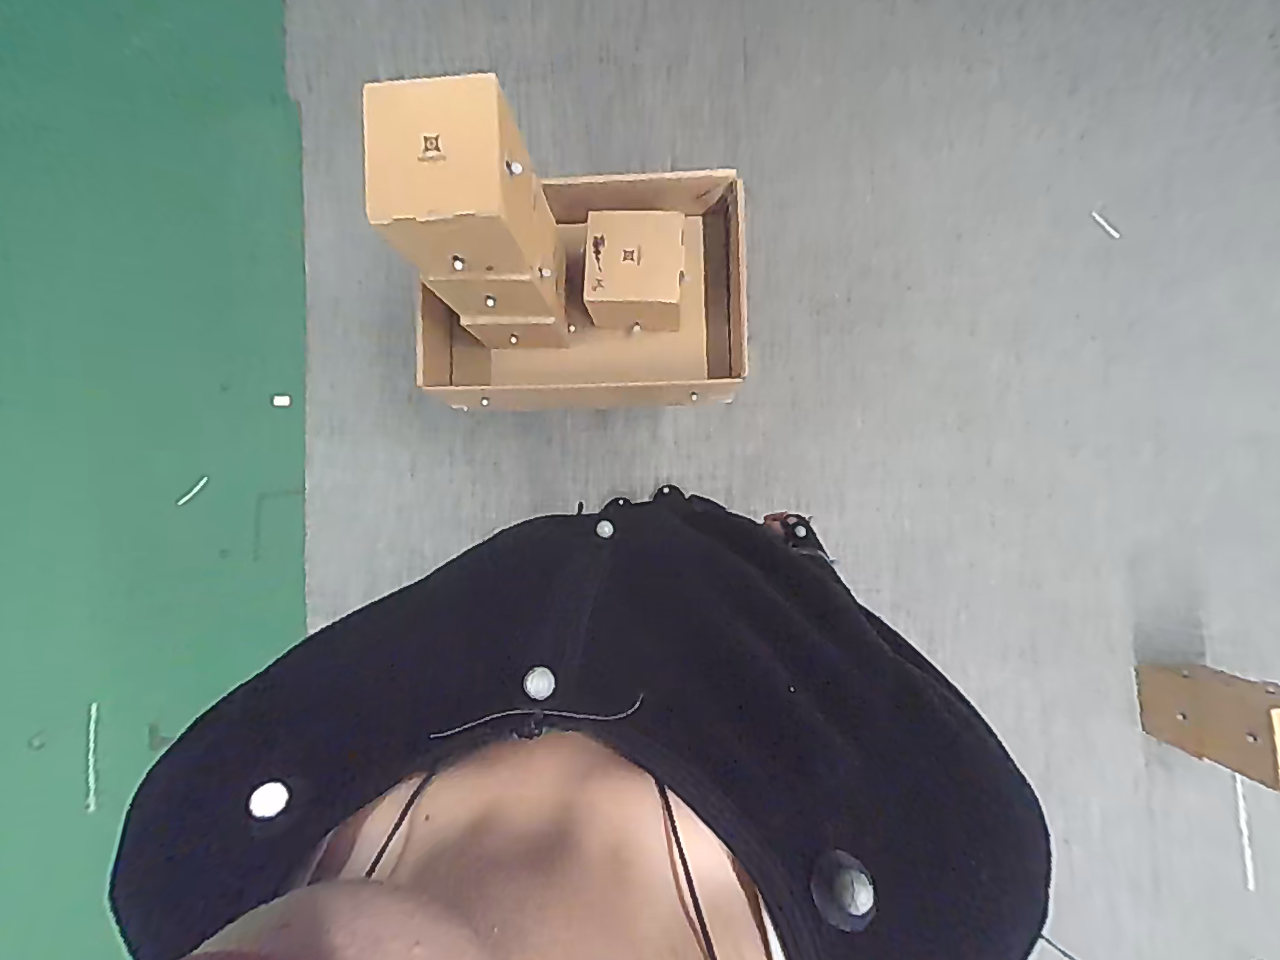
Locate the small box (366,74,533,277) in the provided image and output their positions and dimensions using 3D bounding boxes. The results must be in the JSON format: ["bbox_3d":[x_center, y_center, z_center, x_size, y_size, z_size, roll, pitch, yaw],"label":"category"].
[{"bbox_3d":[-0.245,-0.396,0.728,0.168,0.176,0.179,-3,87,3],"label":"small box"}]

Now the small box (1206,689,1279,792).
[{"bbox_3d":[1.391,0.562,1.170,0.168,0.176,0.179,-3,87,4],"label":"small box"}]

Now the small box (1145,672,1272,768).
[{"bbox_3d":[1.401,0.582,1.333,0.168,0.176,0.179,-3,87,3],"label":"small box"}]
